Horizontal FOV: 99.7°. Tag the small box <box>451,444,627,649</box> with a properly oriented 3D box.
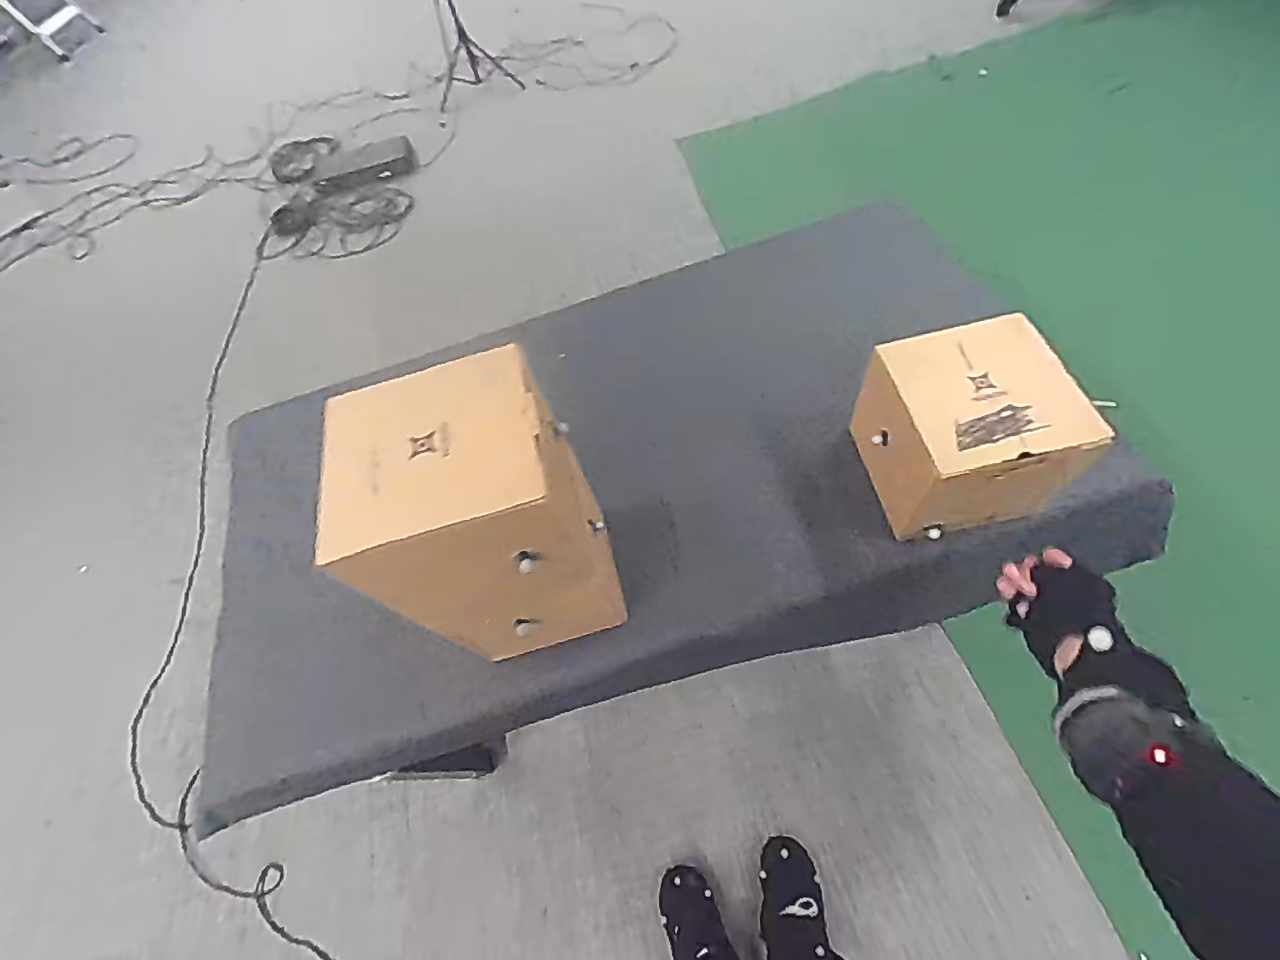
[{"bbox_3d":[-0.128,0.088,0.649,0.179,0.176,0.168,-16,59,1],"label":"small box"}]

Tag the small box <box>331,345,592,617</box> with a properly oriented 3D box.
[{"bbox_3d":[-0.152,0.010,0.508,0.179,0.176,0.168,-17,57,1],"label":"small box"}]

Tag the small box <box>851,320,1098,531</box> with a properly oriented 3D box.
[{"bbox_3d":[0.368,-0.052,0.639,0.168,0.176,0.179,-11,59,4],"label":"small box"}]
